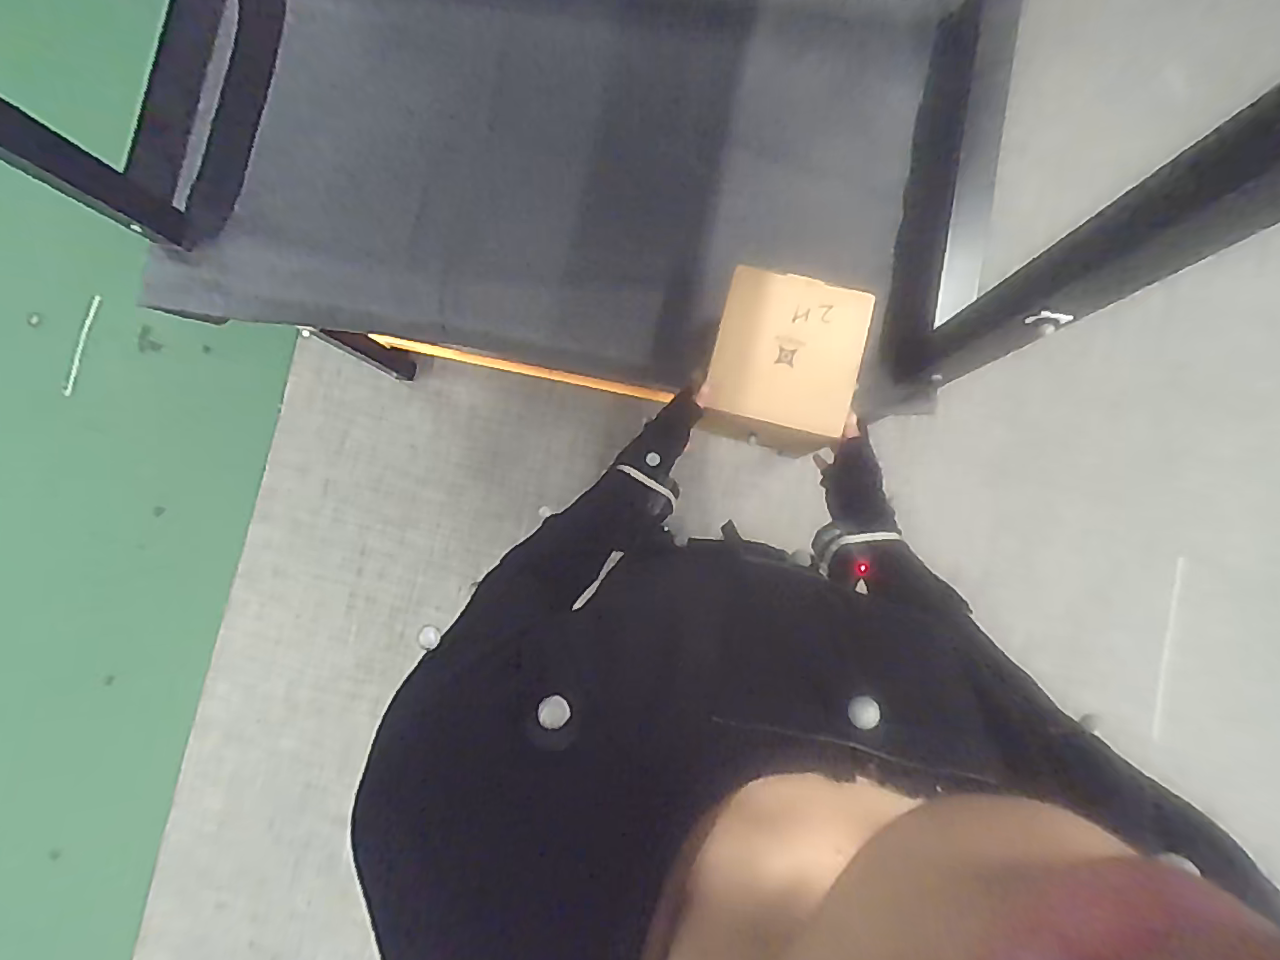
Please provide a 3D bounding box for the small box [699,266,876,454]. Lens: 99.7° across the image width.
[{"bbox_3d":[0.175,-0.141,0.698,0.168,0.176,0.179,14,86,4],"label":"small box"}]
